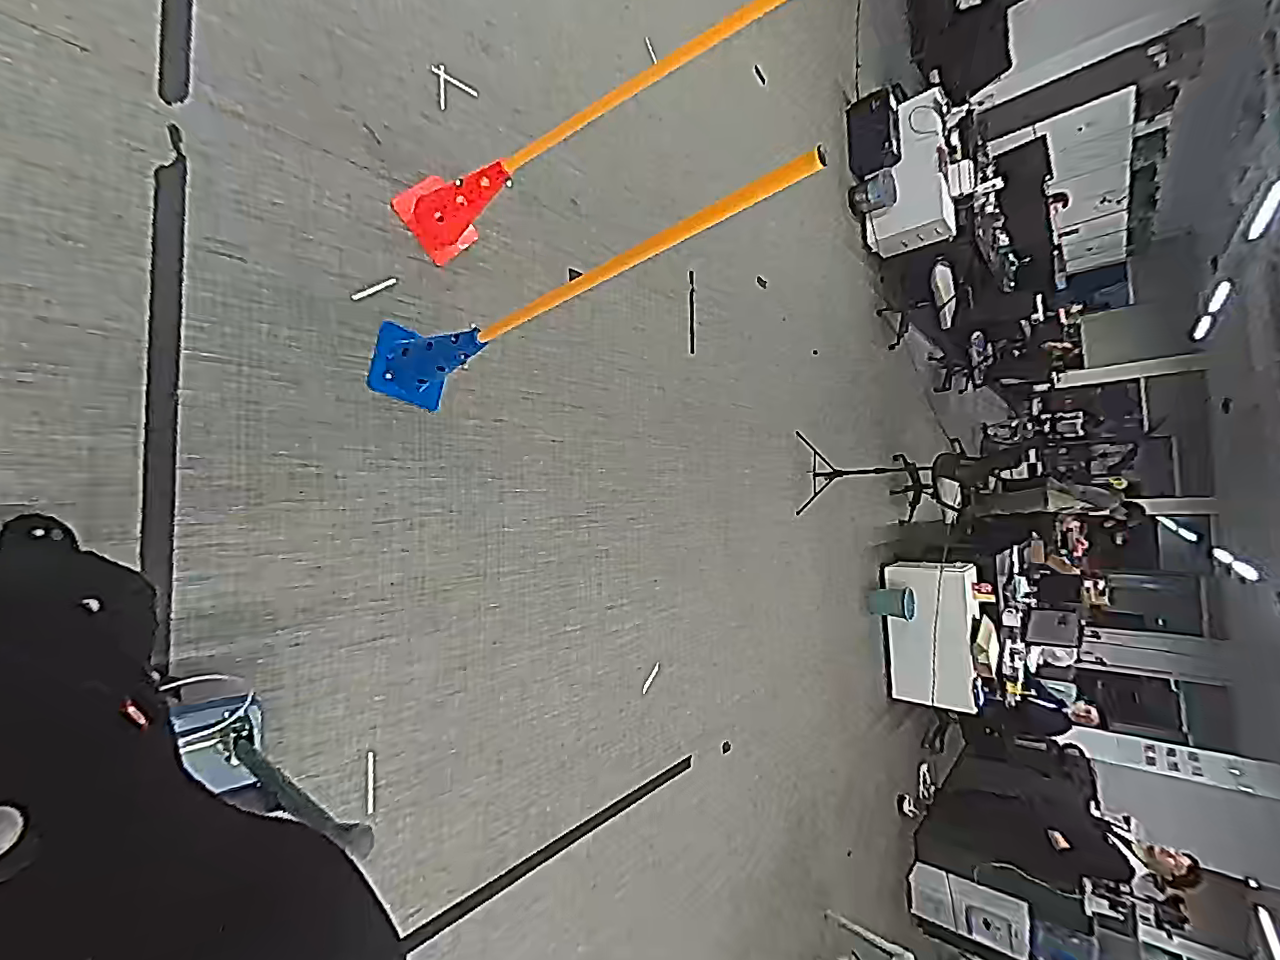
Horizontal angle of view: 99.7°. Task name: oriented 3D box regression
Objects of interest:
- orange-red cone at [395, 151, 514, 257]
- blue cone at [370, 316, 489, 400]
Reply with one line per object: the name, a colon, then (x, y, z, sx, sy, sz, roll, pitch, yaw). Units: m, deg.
orange-red cone: (-0.451, -0.771, 1.434, 0.198, 0.360, 0.199, 56, 51, -29)
blue cone: (-0.503, -0.336, 1.360, 0.193, 0.380, 0.192, 24, 69, -45)
